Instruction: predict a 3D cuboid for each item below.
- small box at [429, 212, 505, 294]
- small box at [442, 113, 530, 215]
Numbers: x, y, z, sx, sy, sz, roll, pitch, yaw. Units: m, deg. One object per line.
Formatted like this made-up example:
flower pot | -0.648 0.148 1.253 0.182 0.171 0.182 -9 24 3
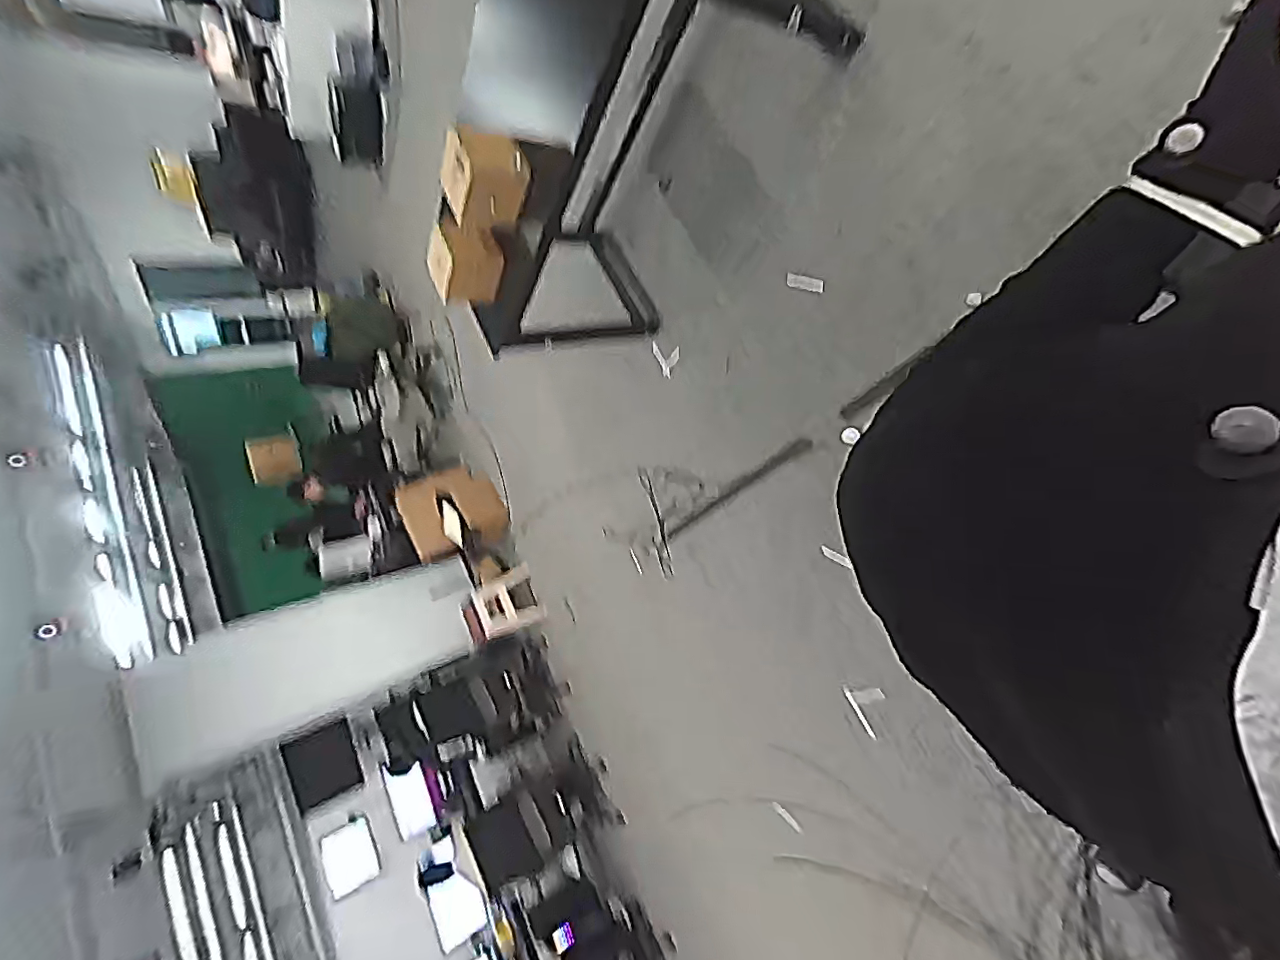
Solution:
small box | -0.541 -0.712 1.699 0.168 0.176 0.179 63 144 17
small box | -0.417 -0.850 1.469 0.179 0.176 0.168 -44 67 53
